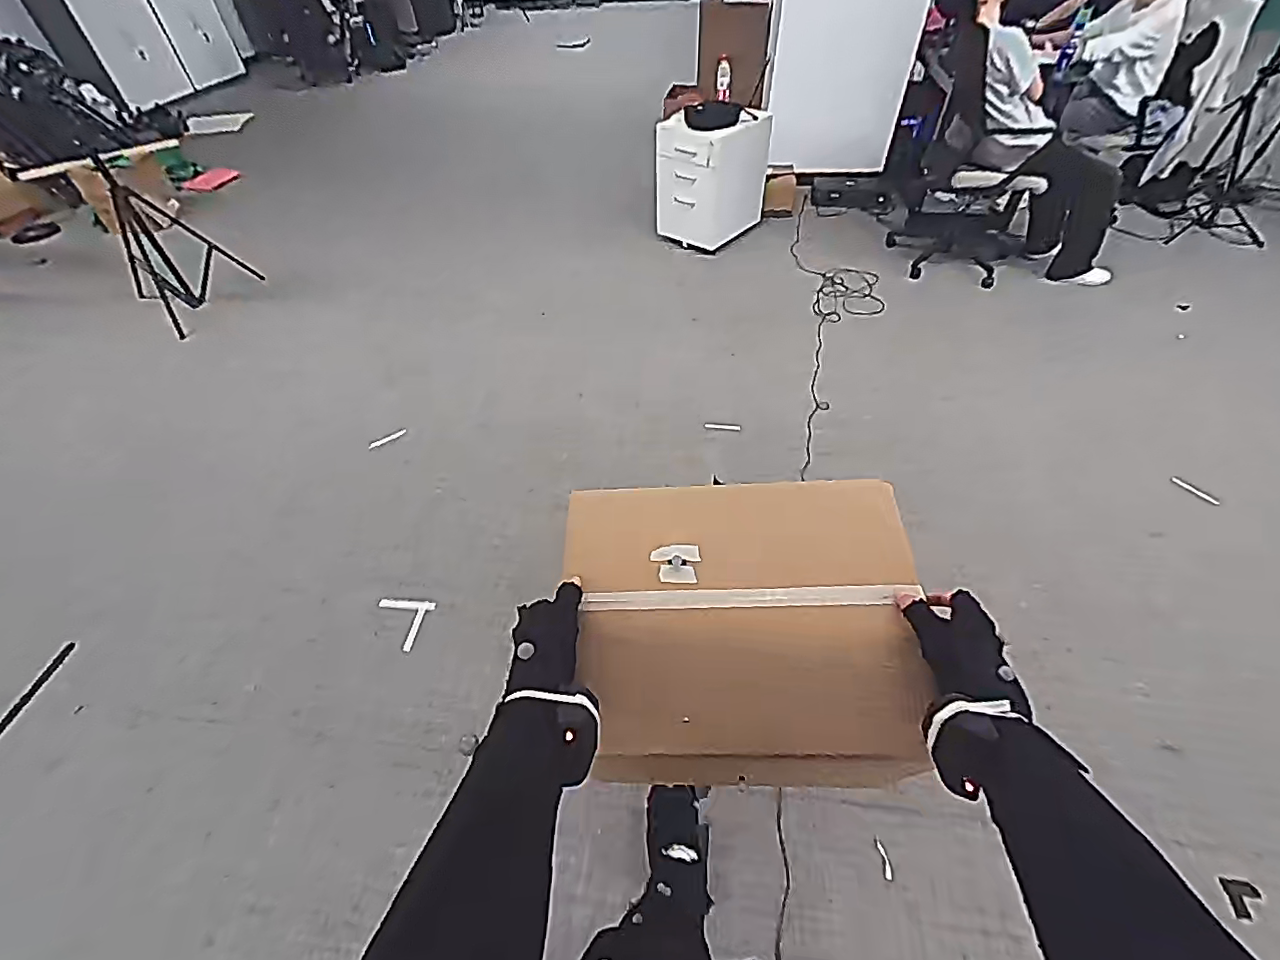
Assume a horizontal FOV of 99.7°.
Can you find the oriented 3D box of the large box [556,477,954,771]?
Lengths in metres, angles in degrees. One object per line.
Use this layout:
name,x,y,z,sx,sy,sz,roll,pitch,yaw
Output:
large box,0.129,0.216,0.746,0.408,0.320,0.320,-3,55,6
